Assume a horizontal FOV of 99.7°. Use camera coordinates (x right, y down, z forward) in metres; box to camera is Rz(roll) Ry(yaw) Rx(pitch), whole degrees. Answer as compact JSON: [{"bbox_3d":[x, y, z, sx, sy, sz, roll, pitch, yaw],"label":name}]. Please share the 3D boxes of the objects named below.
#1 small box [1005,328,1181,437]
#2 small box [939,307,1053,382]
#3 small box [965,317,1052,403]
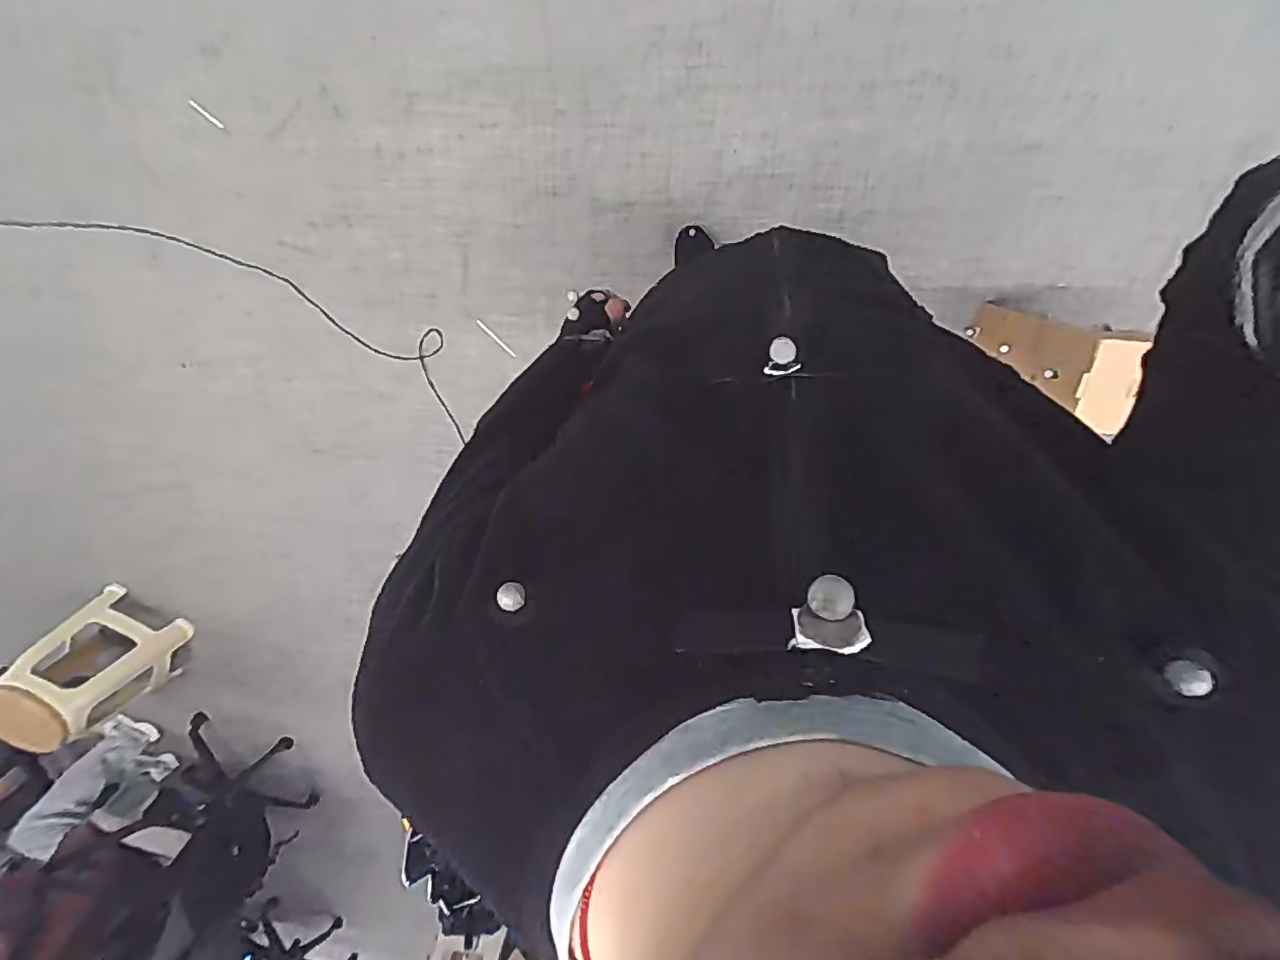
[{"bbox_3d":[0.854,-0.196,1.045,0.179,0.176,0.168,6,115,3],"label":"small box"},{"bbox_3d":[0.889,-0.324,1.344,0.179,0.176,0.168,13,115,1],"label":"small box"},{"bbox_3d":[0.873,-0.253,1.197,0.179,0.176,0.168,14,115,0],"label":"small box"}]
